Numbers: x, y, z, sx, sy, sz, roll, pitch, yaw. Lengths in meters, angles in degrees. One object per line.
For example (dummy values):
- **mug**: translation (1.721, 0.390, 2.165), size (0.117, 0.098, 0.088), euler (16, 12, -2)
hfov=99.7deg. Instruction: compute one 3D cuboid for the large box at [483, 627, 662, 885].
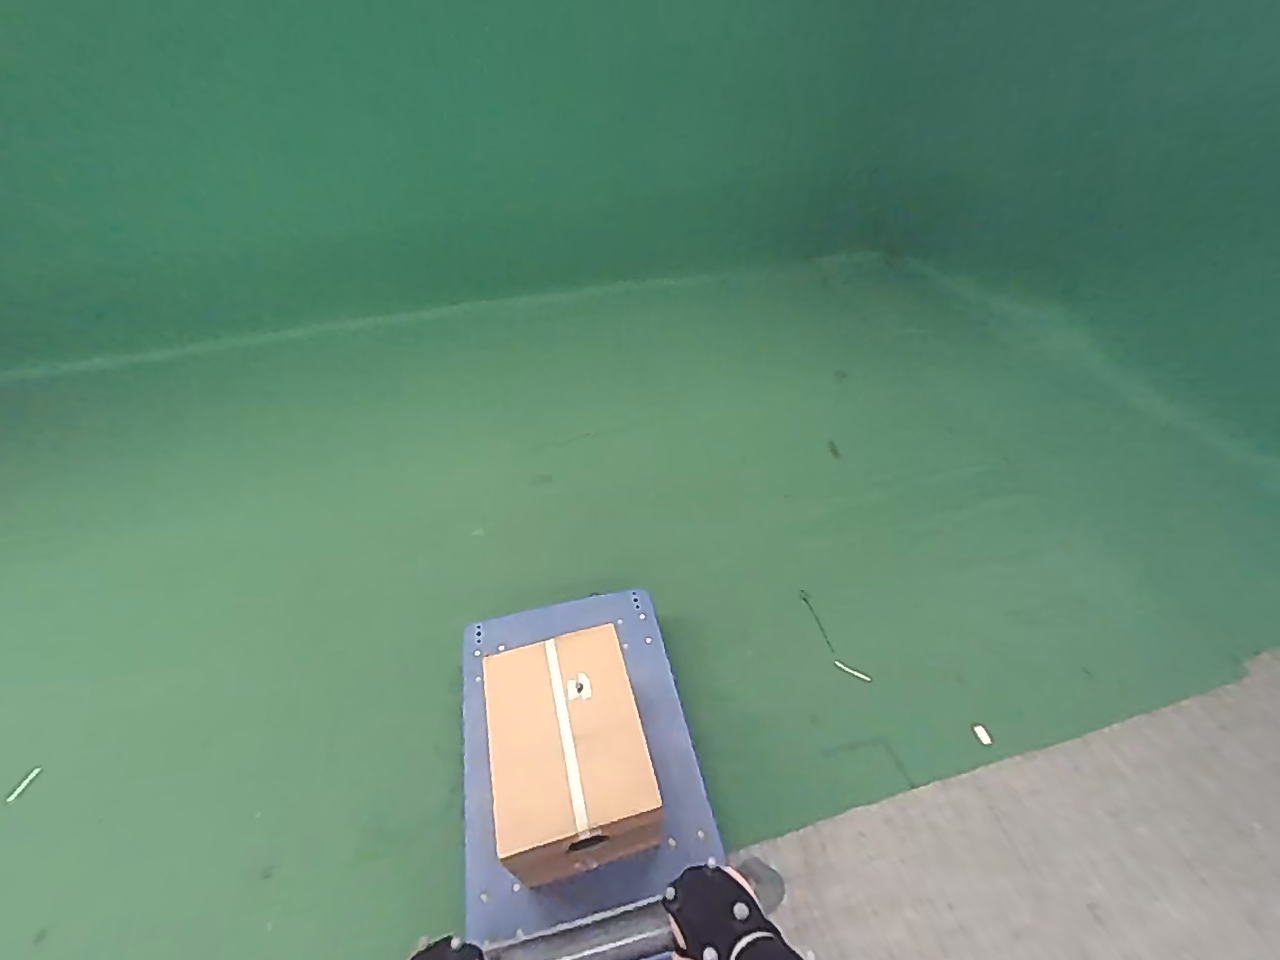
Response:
- **large box**: translation (-0.154, 0.623, 1.243), size (0.320, 0.320, 0.408), euler (-12, 46, -10)
